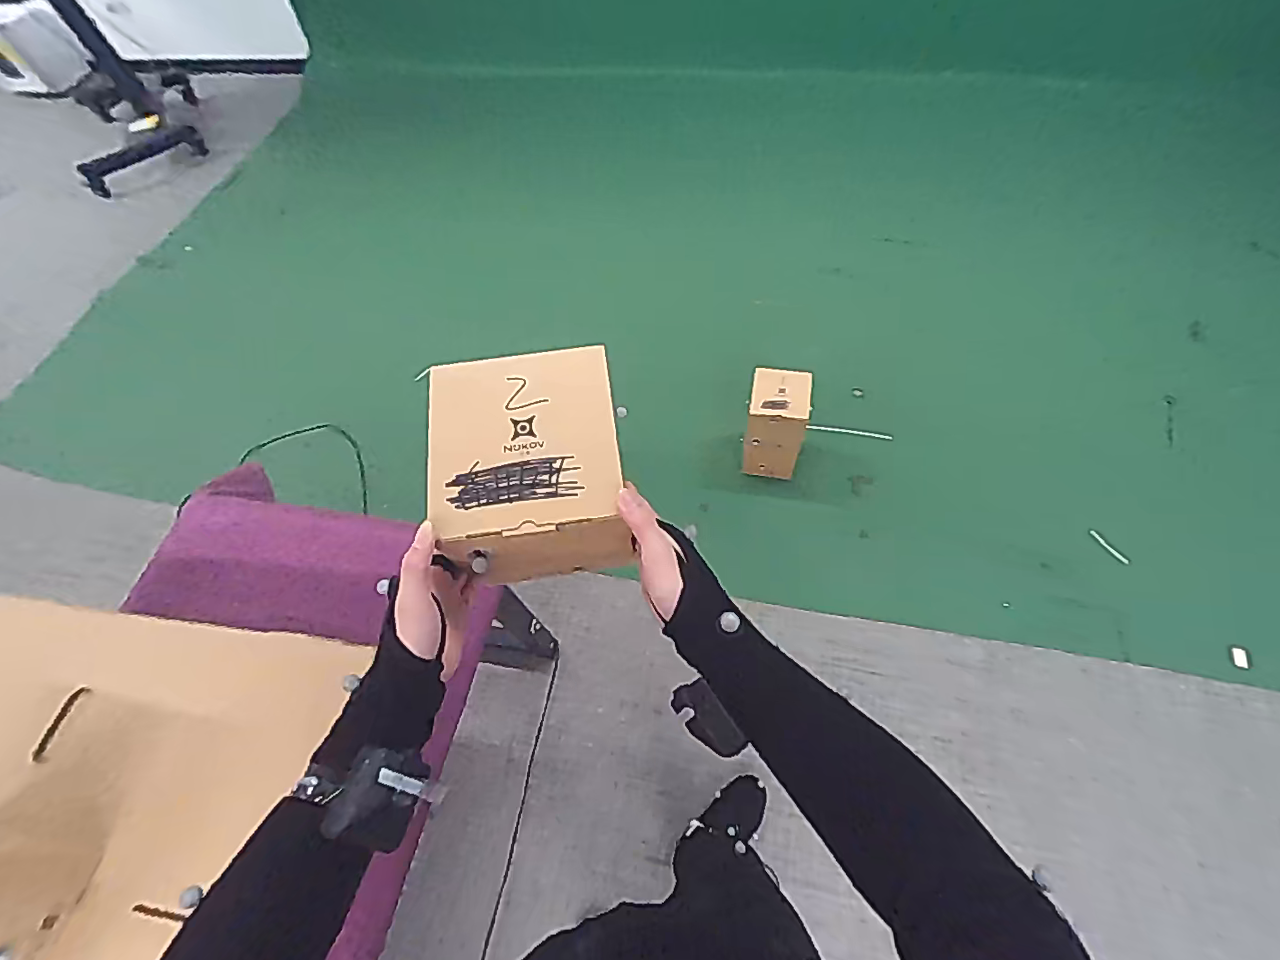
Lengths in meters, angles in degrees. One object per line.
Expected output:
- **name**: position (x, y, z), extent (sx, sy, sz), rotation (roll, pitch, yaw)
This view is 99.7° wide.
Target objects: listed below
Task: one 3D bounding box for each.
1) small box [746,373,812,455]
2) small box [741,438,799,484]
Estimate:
- **small box**: position (0.415, -0.195, 1.630), extent (0.168, 0.176, 0.179), rotation (9, 60, 10)
- **small box**: position (0.428, -0.112, 1.770), extent (0.168, 0.176, 0.179), rotation (8, 61, 10)
